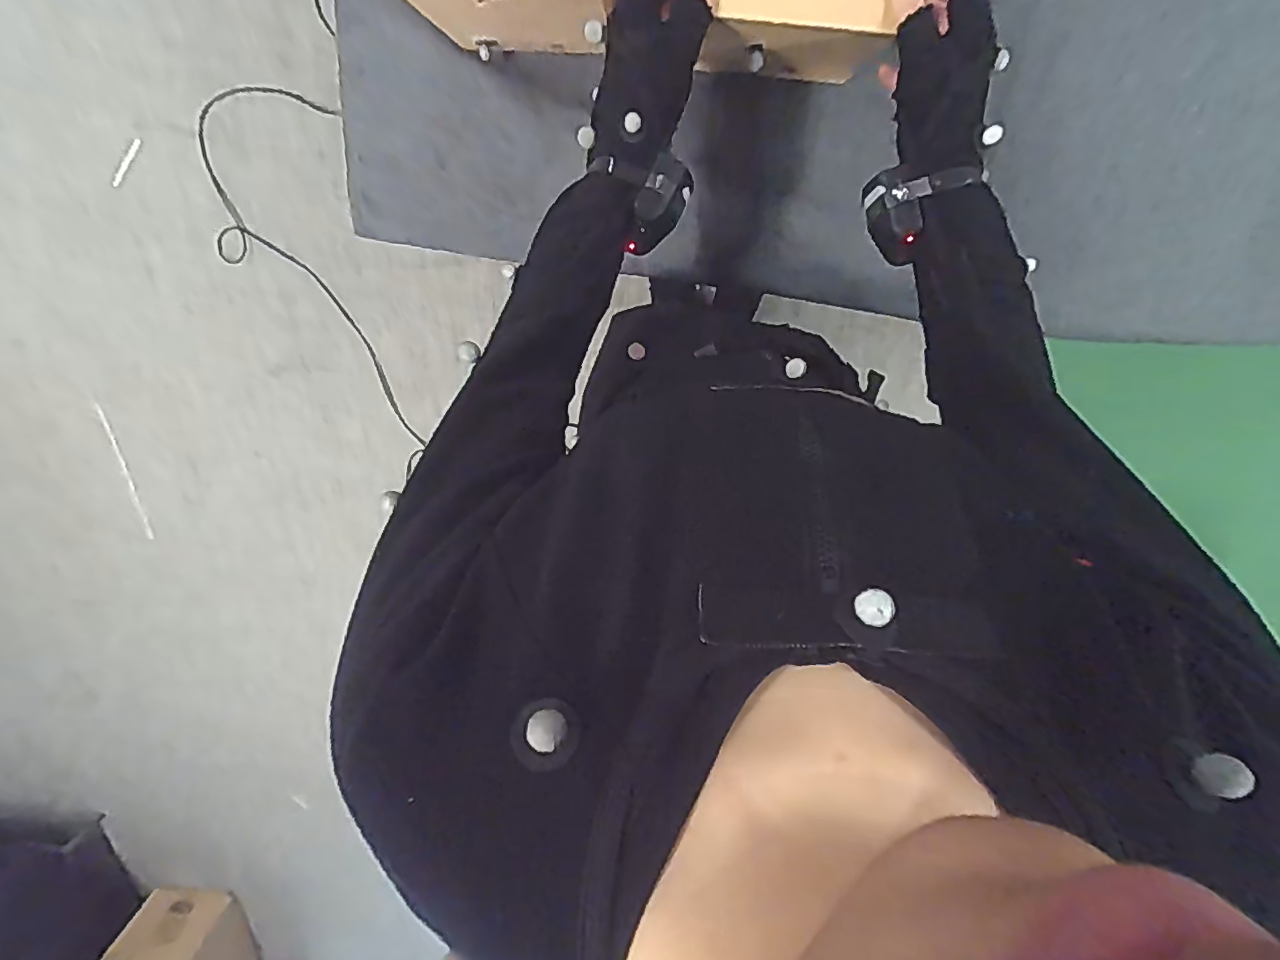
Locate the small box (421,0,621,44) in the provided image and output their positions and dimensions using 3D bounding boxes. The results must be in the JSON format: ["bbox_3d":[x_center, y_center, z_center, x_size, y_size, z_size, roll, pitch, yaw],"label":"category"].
[{"bbox_3d":[-0.102,-0.484,0.439,0.168,0.176,0.179,3,114,2],"label":"small box"}]

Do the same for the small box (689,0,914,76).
[{"bbox_3d":[0.133,-0.454,0.438,0.168,0.176,0.179,6,115,2],"label":"small box"}]
